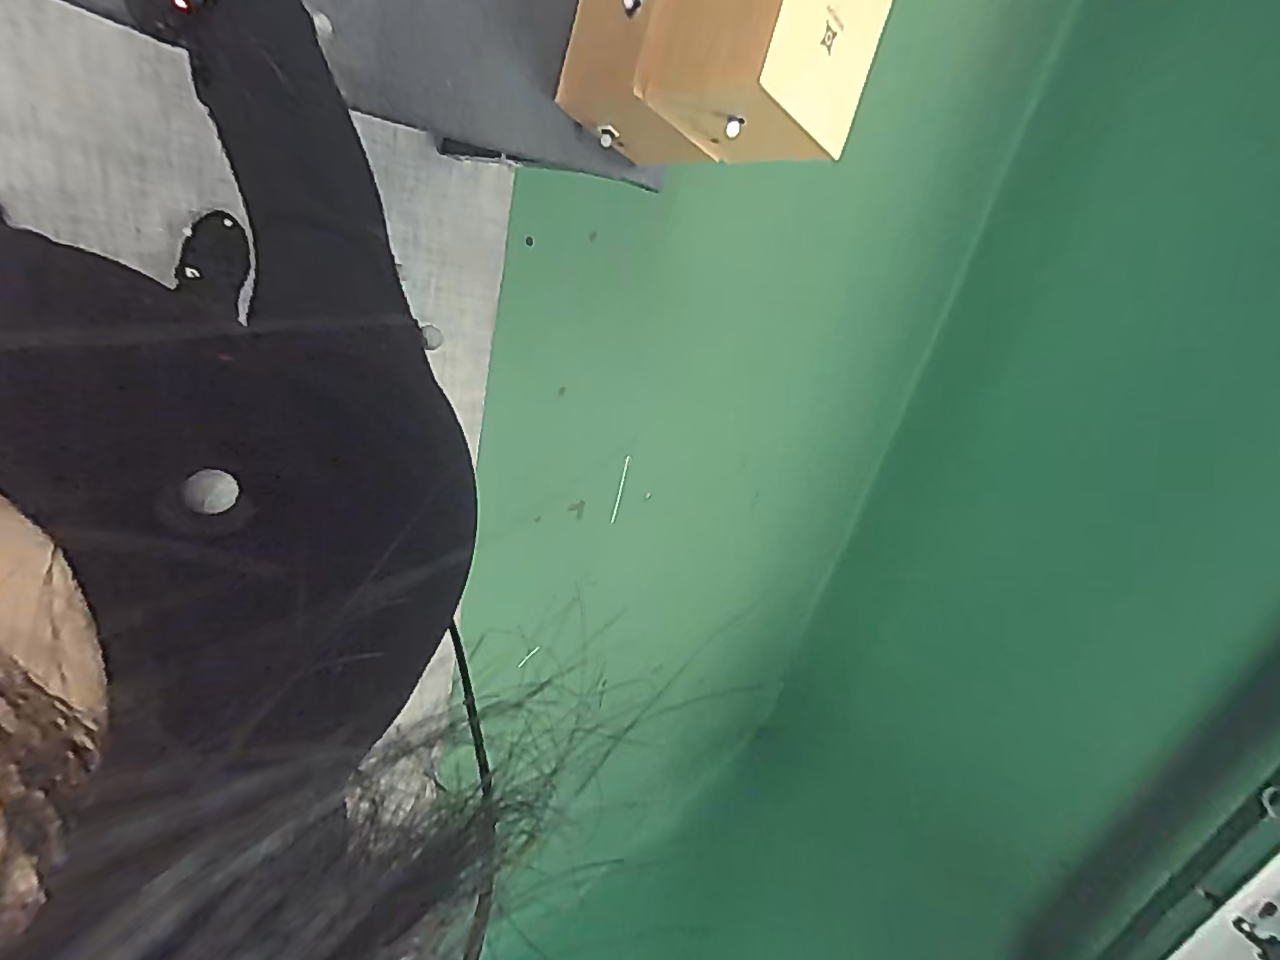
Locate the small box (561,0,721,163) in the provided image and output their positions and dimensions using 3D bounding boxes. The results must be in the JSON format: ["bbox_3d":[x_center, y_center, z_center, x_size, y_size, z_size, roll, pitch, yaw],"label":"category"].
[{"bbox_3d":[0.022,-0.533,0.689,0.168,0.176,0.179,6,109,-45],"label":"small box"}]

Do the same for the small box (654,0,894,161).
[{"bbox_3d":[0.137,-0.473,0.590,0.168,0.176,0.179,3,109,-44],"label":"small box"}]
